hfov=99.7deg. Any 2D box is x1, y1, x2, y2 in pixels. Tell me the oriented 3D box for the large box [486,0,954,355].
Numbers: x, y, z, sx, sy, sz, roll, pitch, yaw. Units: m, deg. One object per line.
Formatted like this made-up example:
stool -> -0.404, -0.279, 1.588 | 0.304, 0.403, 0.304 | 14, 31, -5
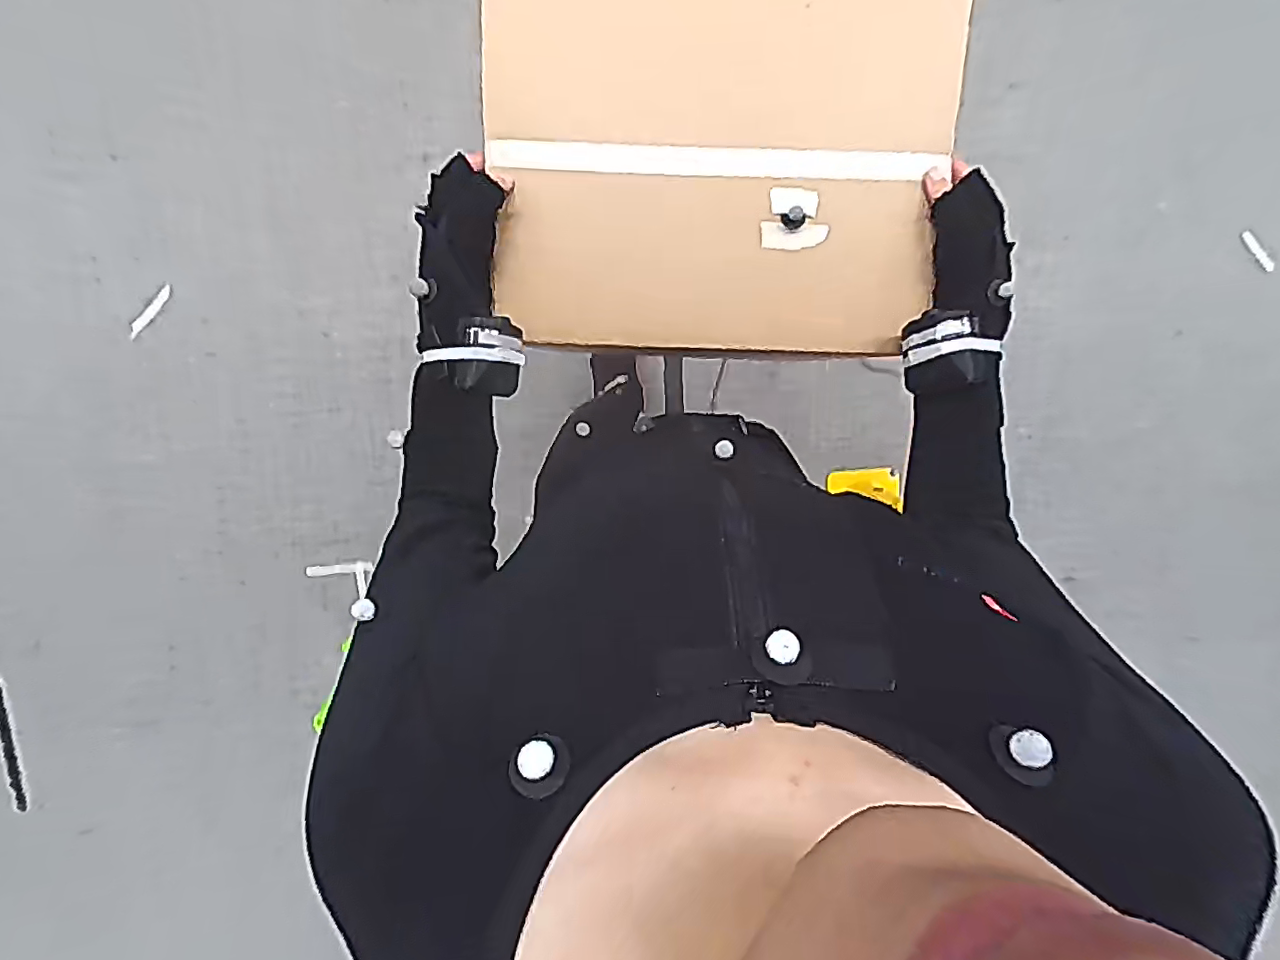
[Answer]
large box -> 0.062, -0.310, 0.623 | 0.408, 0.320, 0.320 | 1, 101, -2
